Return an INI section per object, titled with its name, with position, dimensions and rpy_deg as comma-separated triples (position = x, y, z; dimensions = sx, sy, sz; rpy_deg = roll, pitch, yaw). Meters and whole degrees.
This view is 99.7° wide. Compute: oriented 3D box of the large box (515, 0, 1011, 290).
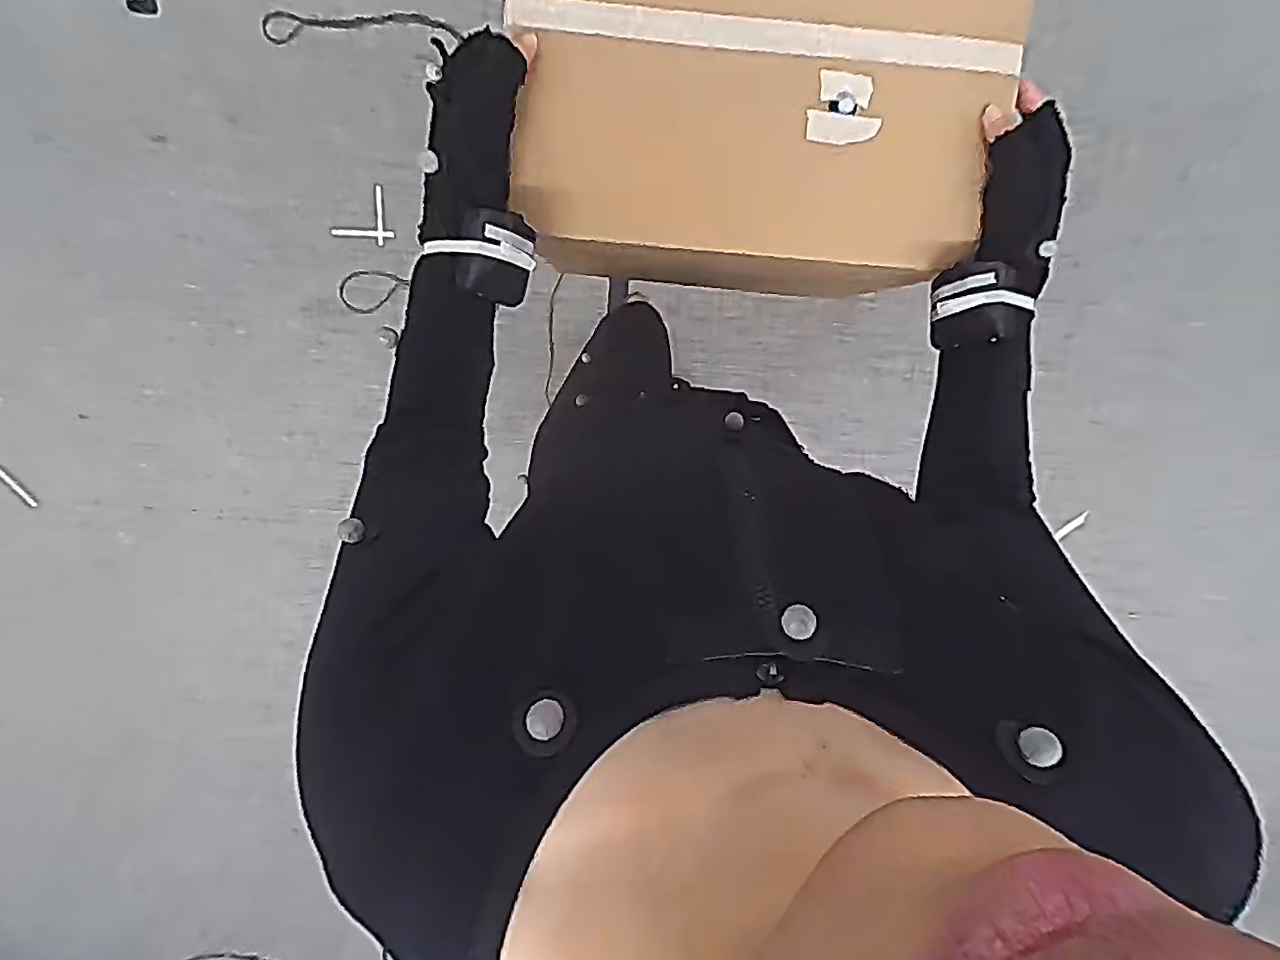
[large box]
position = 0.092, -0.392, 0.585
dimensions = 0.408, 0.320, 0.320
rpy_deg = 4, 105, -3
